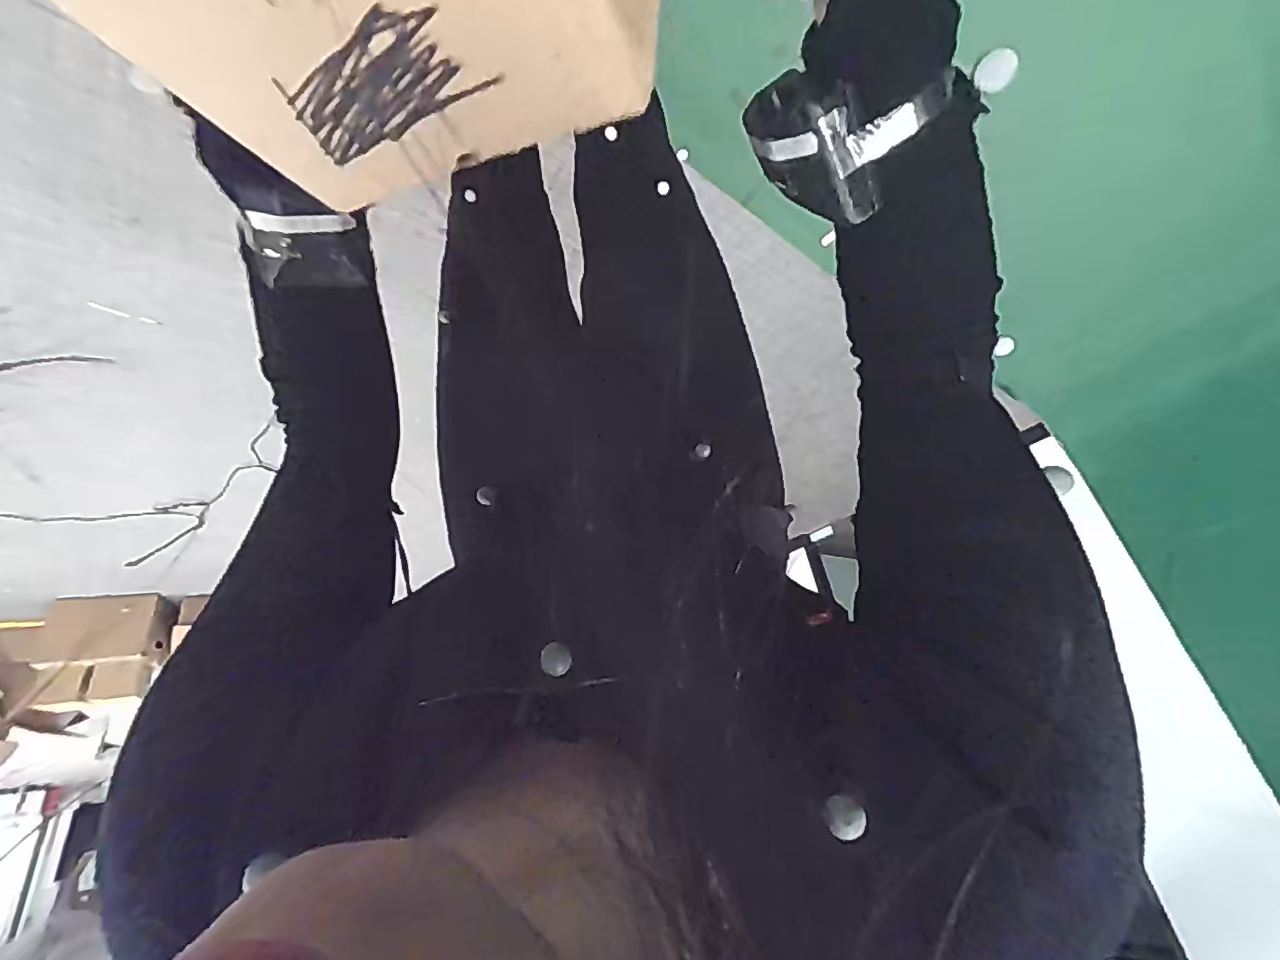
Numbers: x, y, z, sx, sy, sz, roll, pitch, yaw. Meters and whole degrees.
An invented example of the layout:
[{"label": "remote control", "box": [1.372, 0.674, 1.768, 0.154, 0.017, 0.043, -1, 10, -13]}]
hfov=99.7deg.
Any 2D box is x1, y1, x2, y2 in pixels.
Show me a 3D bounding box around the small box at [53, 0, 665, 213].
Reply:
[{"label": "small box", "box": [-0.096, -0.230, 0.172, 0.168, 0.176, 0.179, -6, 167, 23]}]
